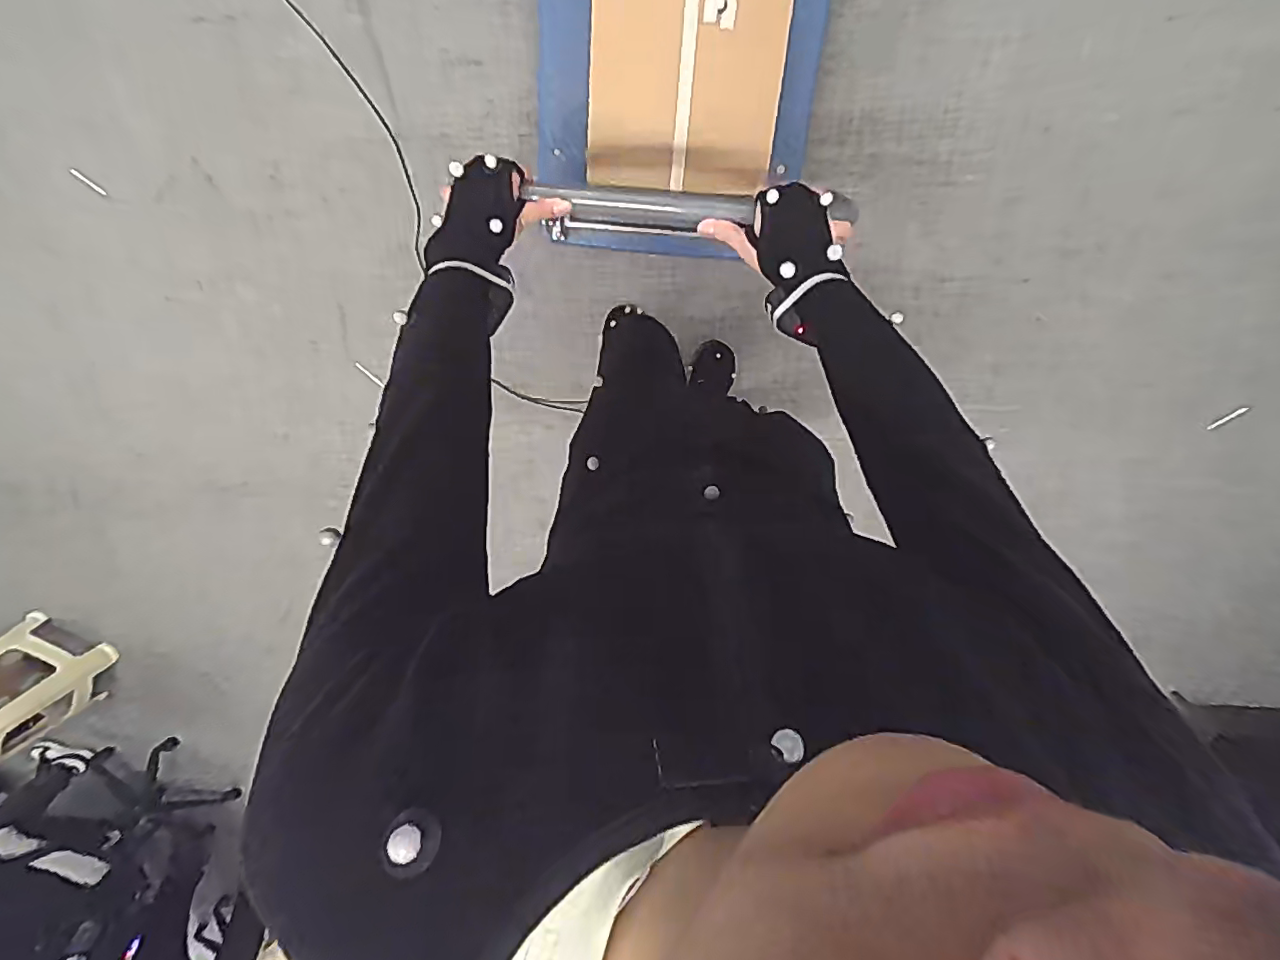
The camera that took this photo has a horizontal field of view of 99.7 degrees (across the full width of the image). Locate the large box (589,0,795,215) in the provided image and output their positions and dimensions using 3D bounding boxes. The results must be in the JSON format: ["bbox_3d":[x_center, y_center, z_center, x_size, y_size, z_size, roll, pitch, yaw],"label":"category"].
[{"bbox_3d":[0.089,-0.726,0.995,0.320,0.320,0.408,5,113,2],"label":"large box"}]
